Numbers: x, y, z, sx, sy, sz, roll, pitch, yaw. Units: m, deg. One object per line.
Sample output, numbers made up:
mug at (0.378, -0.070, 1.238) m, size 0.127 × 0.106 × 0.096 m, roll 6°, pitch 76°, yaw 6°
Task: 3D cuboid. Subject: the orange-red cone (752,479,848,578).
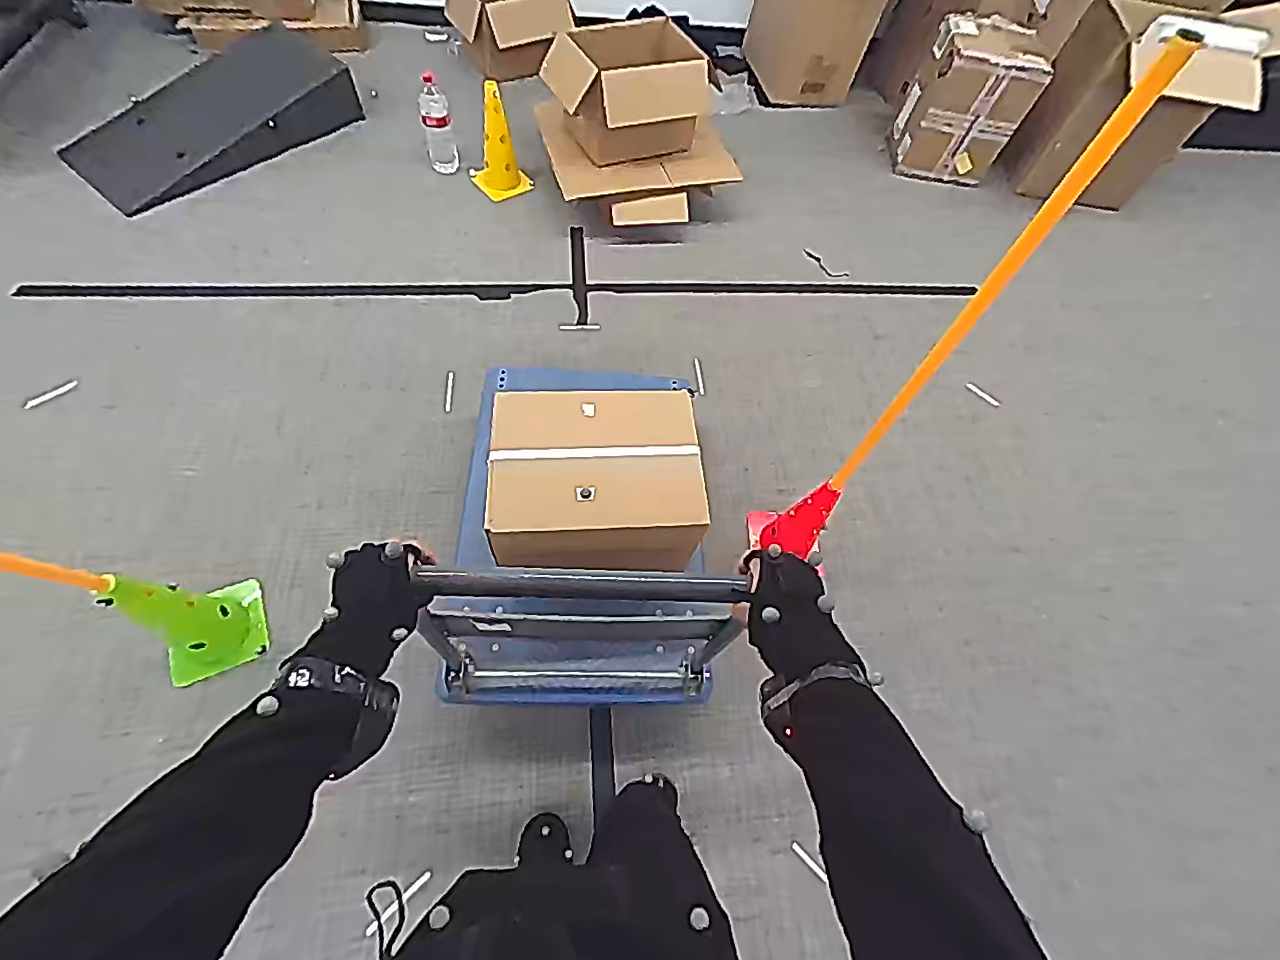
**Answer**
orange-red cone at (0.433, 0.095, 1.369) m, size 0.199 × 0.360 × 0.198 m, roll 4°, pitch 61°, yaw -6°
